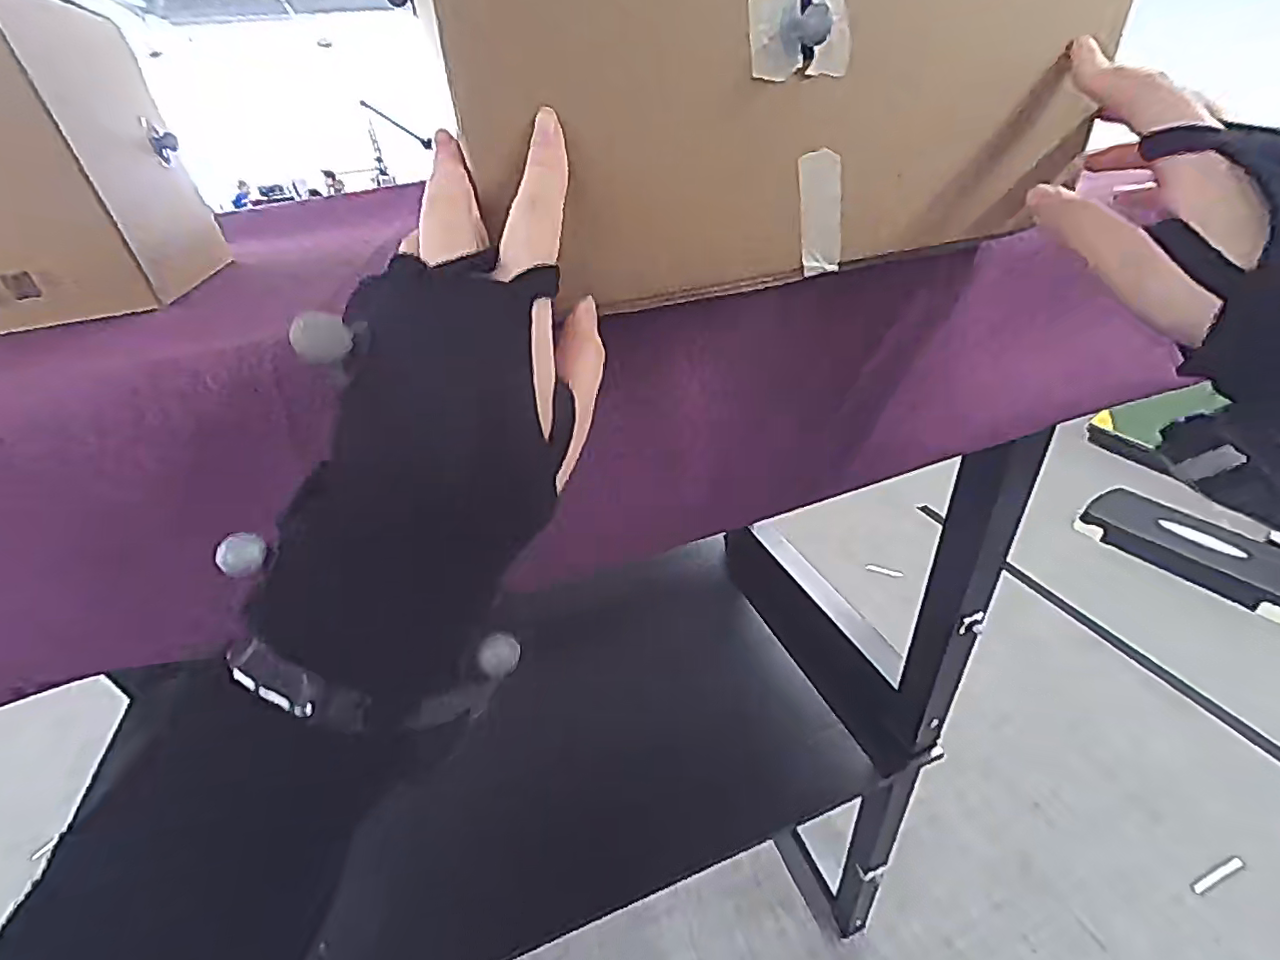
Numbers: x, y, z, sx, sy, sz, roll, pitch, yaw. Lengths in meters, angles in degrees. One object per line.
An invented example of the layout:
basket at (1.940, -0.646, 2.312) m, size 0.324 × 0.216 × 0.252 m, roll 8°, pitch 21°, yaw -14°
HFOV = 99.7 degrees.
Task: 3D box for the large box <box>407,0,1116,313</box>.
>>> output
large box at (0.012, -0.327, 0.344) m, size 0.320 × 0.320 × 0.408 m, roll -14°, pitch 33°, yaw -12°

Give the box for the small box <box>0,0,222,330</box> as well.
small box at (-0.412, -0.198, 0.344) m, size 0.168 × 0.176 × 0.179 m, roll -16°, pitch 35°, yaw -13°
